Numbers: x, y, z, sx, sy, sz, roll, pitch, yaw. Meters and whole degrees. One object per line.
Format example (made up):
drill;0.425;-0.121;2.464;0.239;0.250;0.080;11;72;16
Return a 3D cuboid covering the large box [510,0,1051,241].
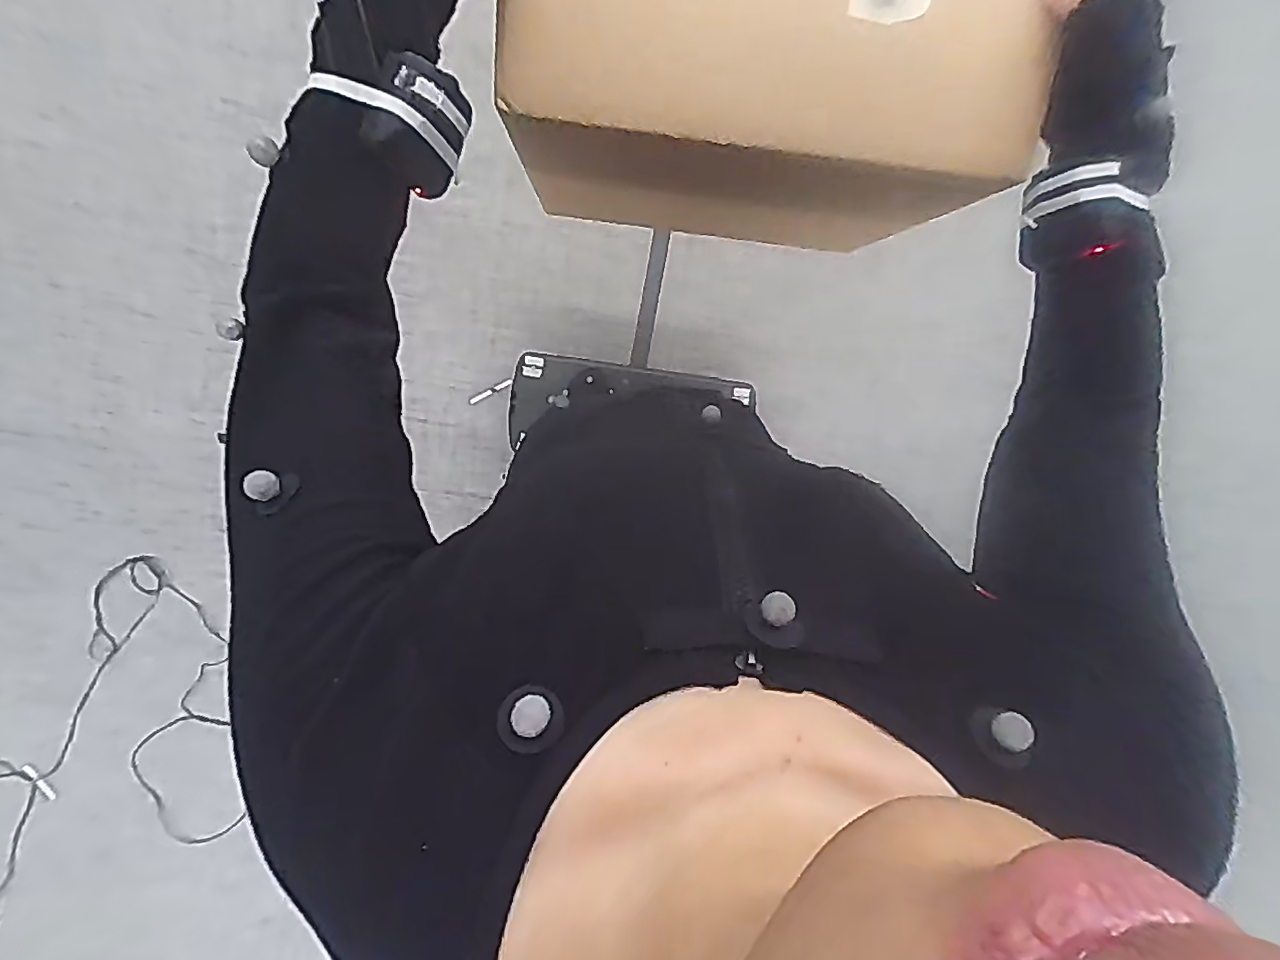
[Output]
large box;0.101;-0.440;0.522;0.408;0.320;0.320;4;104;-5

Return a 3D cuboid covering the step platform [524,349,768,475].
step platform;0.015;-0.192;1.553;0.684;0.204;0.286;6;98;-6
